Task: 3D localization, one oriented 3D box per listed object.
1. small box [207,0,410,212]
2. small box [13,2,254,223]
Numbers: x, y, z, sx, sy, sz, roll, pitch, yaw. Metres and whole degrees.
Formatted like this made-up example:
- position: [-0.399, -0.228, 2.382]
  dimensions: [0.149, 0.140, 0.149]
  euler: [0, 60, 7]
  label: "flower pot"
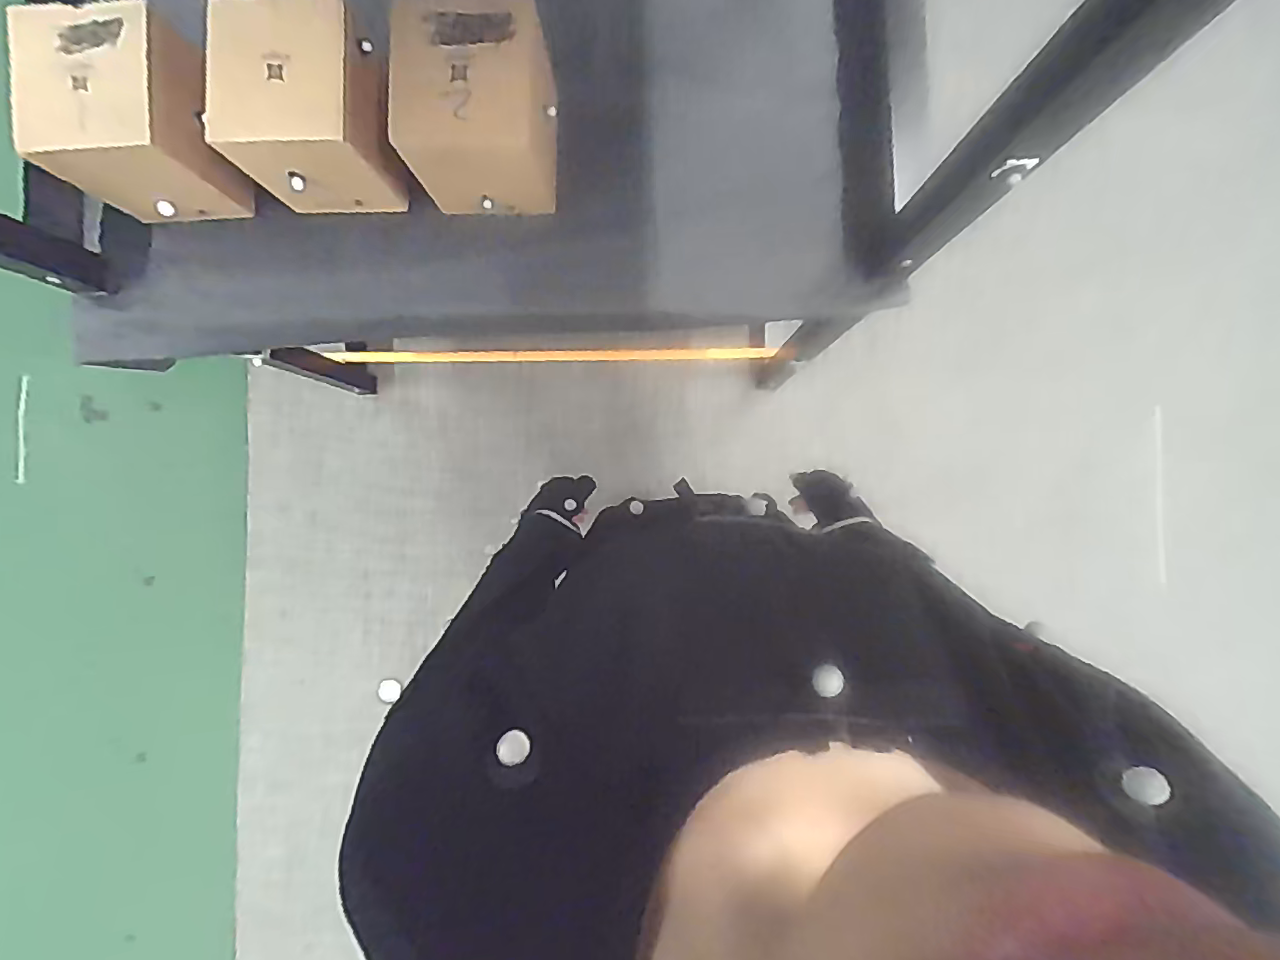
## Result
- position: [-0.416, -0.472, 0.705]
  dimensions: [0.168, 0.176, 0.179]
  euler: [0, 88, 1]
  label: "small box"
- position: [-0.643, -0.466, 0.708]
  dimensions: [0.168, 0.176, 0.179]
  euler: [-3, 89, 1]
  label: "small box"
